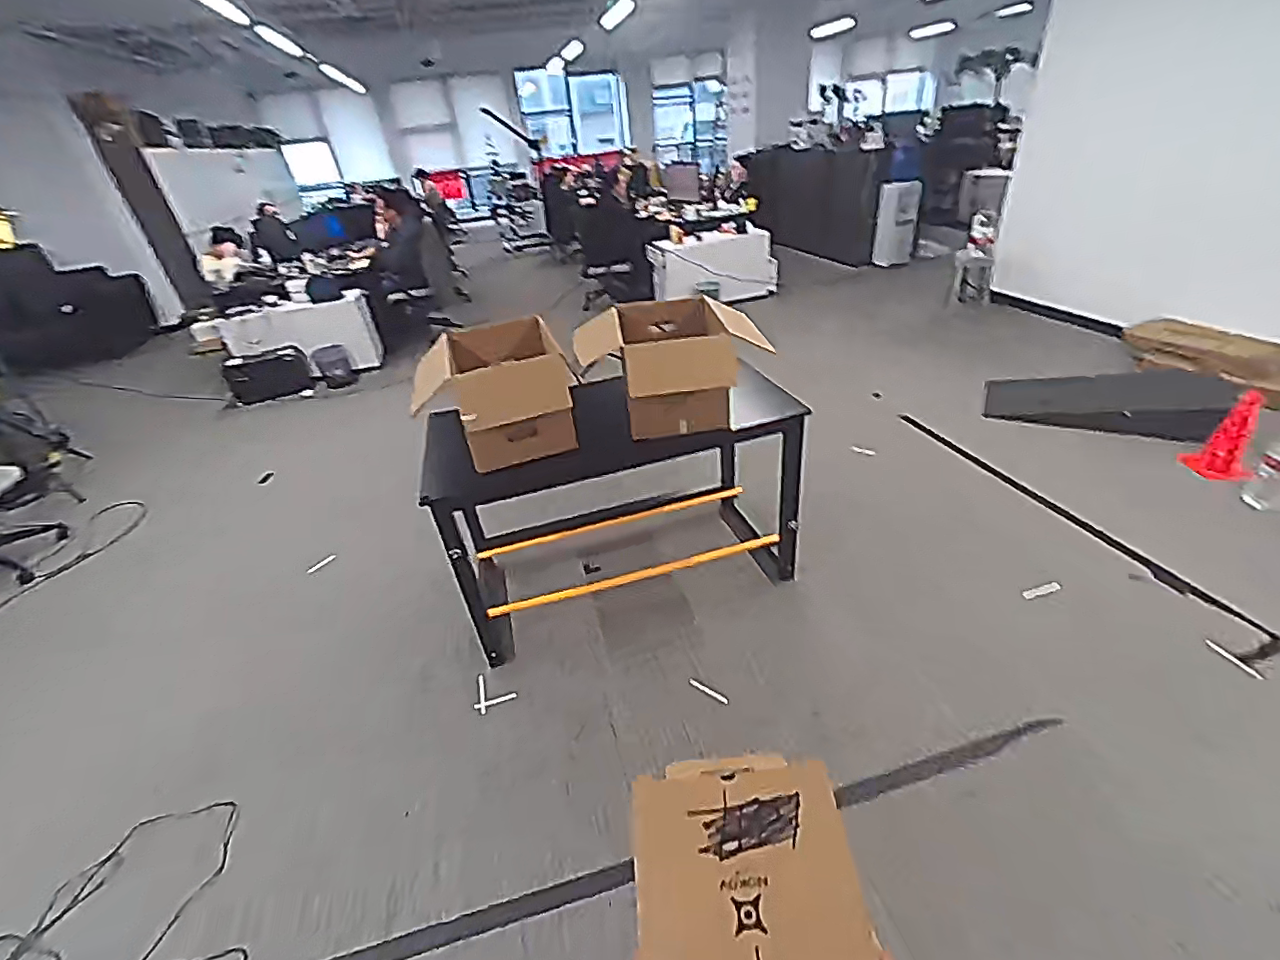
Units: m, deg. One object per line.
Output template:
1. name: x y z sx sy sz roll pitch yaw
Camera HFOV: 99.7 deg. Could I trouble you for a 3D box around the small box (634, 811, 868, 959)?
1. small box: 0.086 0.396 0.445 0.168 0.176 0.179 -7 48 1
